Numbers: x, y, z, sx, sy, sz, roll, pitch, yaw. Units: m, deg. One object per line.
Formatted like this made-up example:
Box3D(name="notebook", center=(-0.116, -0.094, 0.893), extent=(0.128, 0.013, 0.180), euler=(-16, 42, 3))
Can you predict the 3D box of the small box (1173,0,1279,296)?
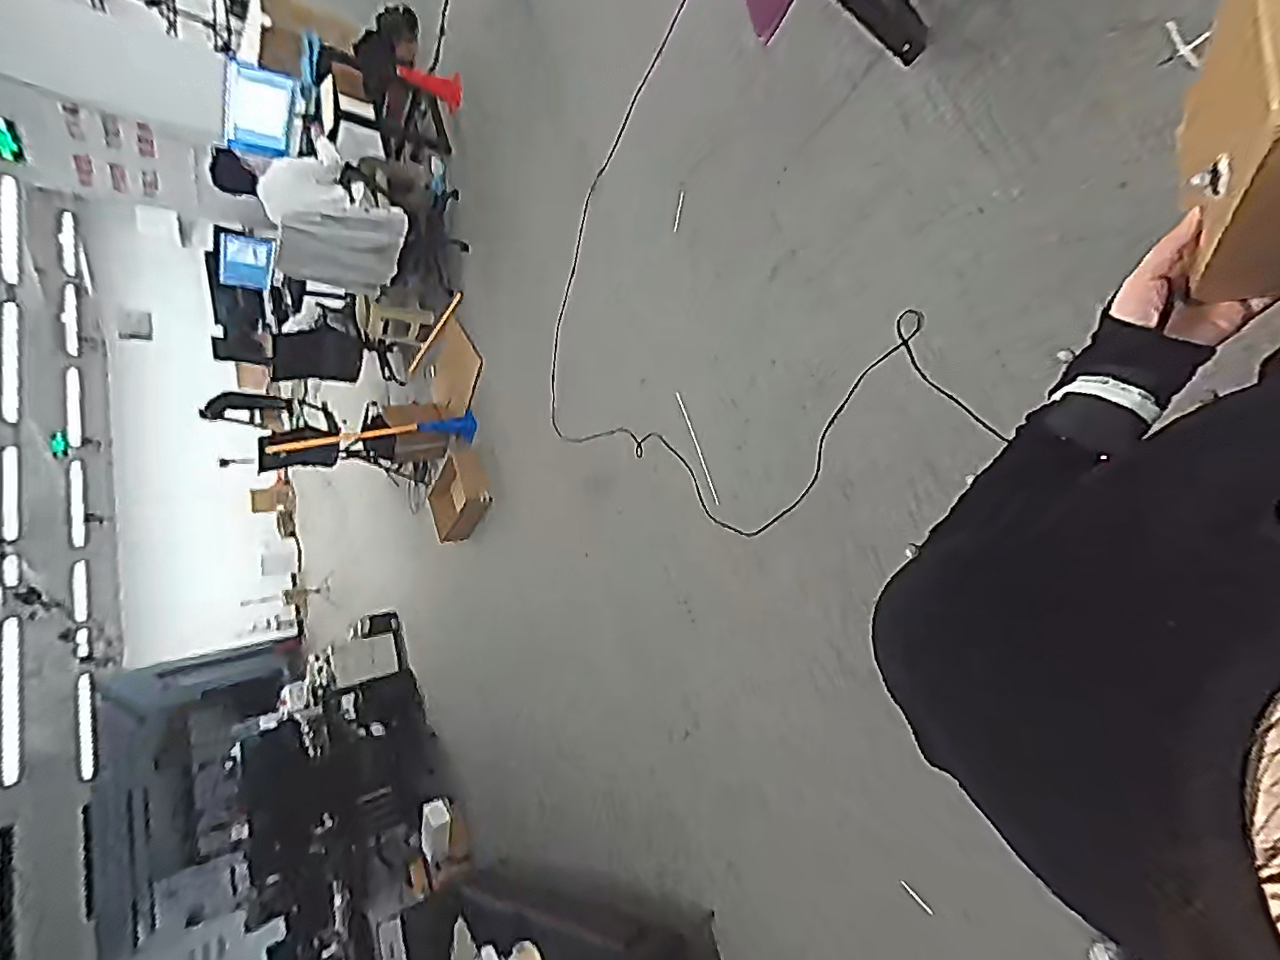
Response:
Box3D(name="small box", center=(0.462, -0.246, 0.334), extent=(0.168, 0.179, 0.176), euler=(2, 75, 34))
